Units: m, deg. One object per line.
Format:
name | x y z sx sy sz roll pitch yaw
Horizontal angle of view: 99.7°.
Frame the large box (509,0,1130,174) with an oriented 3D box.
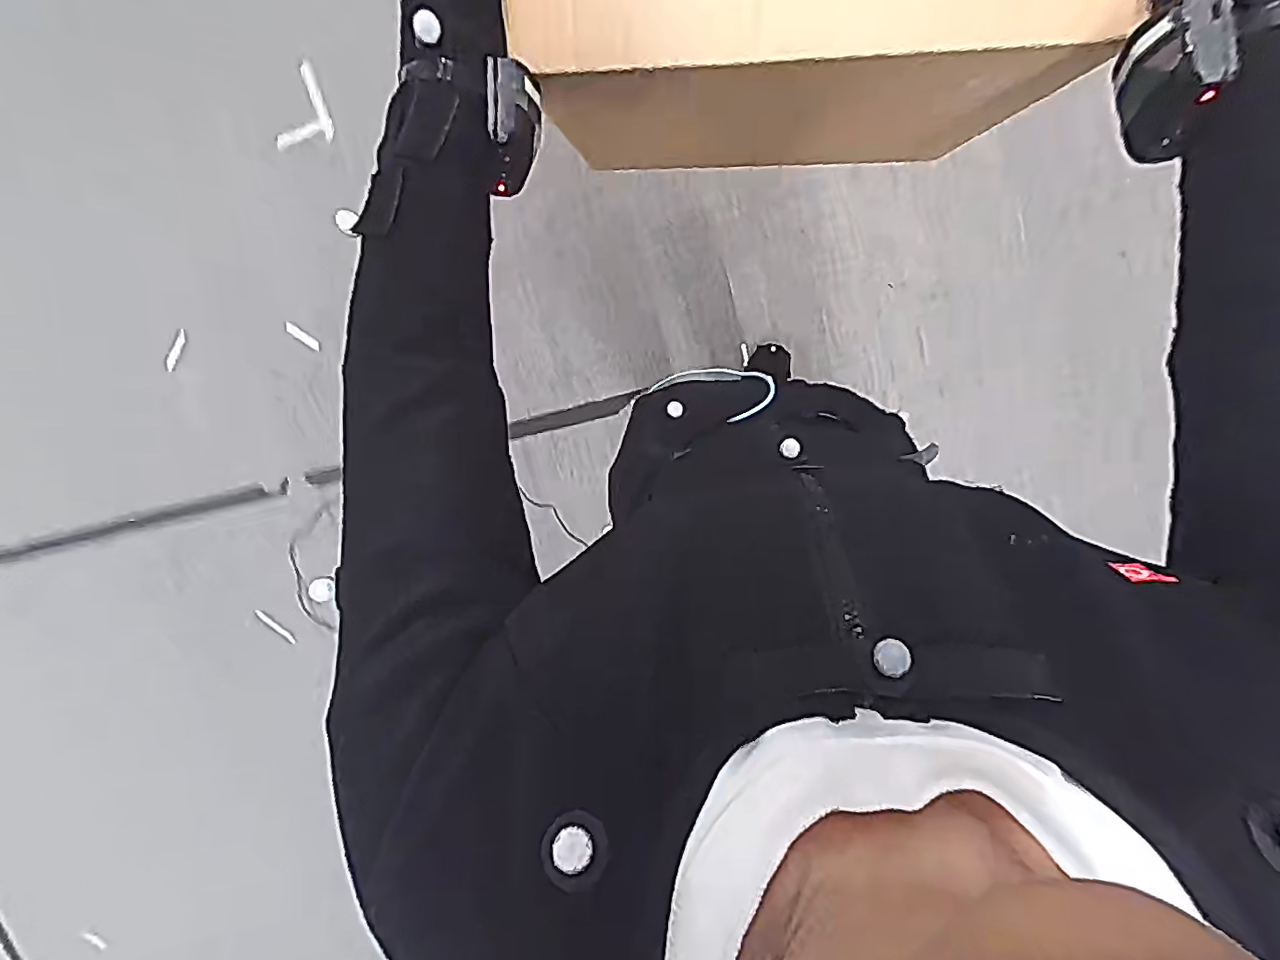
large box | 0.113 -0.475 0.453 0.408 0.320 0.320 -1 109 5
